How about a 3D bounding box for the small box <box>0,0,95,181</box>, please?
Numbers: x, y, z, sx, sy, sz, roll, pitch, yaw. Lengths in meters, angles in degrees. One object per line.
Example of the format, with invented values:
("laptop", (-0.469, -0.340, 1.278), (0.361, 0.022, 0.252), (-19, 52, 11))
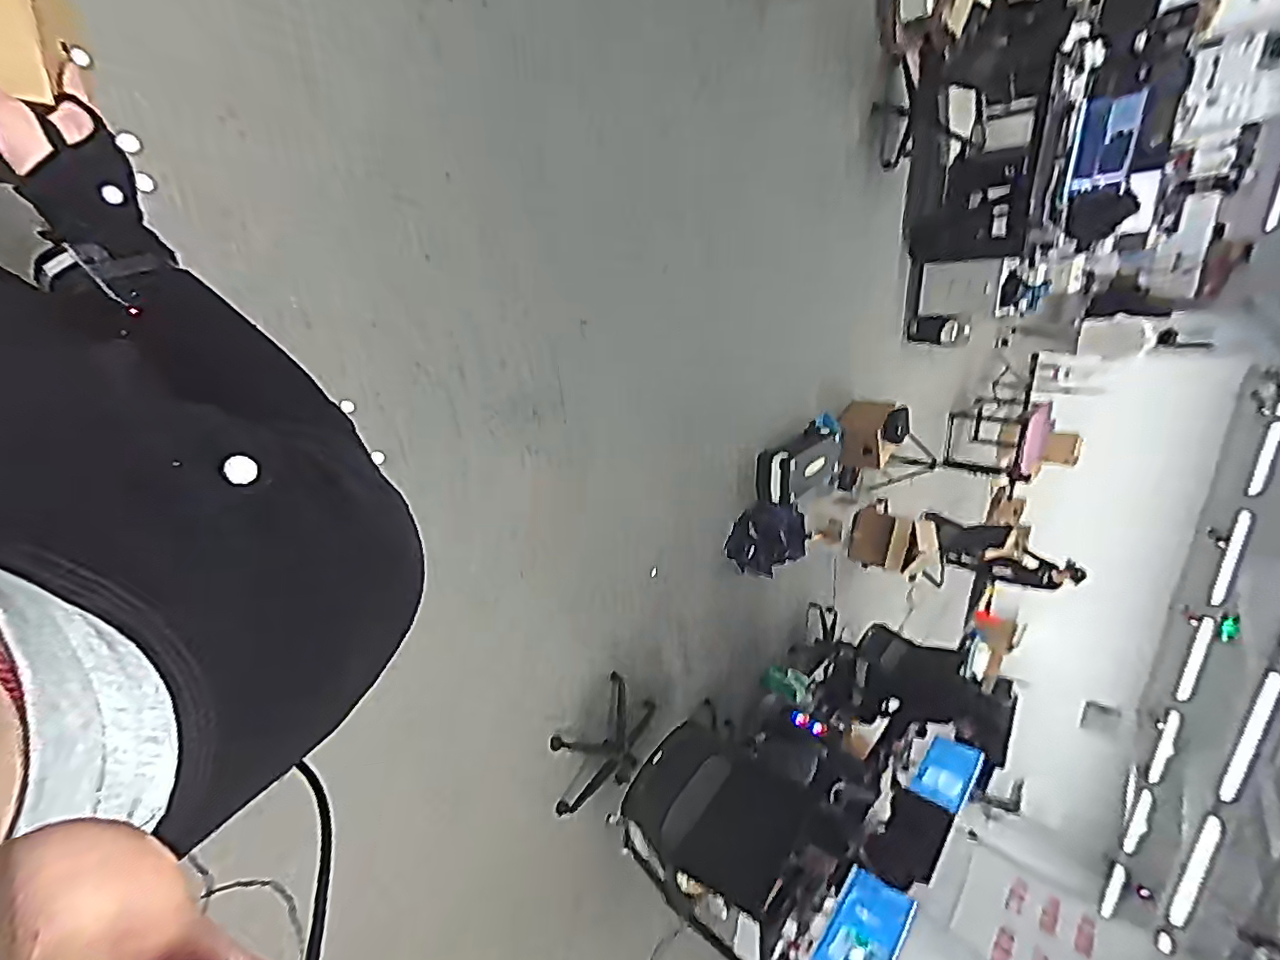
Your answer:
("small box", (-0.597, -0.376, 0.438), (0.168, 0.176, 0.179), (-11, 99, -29))
